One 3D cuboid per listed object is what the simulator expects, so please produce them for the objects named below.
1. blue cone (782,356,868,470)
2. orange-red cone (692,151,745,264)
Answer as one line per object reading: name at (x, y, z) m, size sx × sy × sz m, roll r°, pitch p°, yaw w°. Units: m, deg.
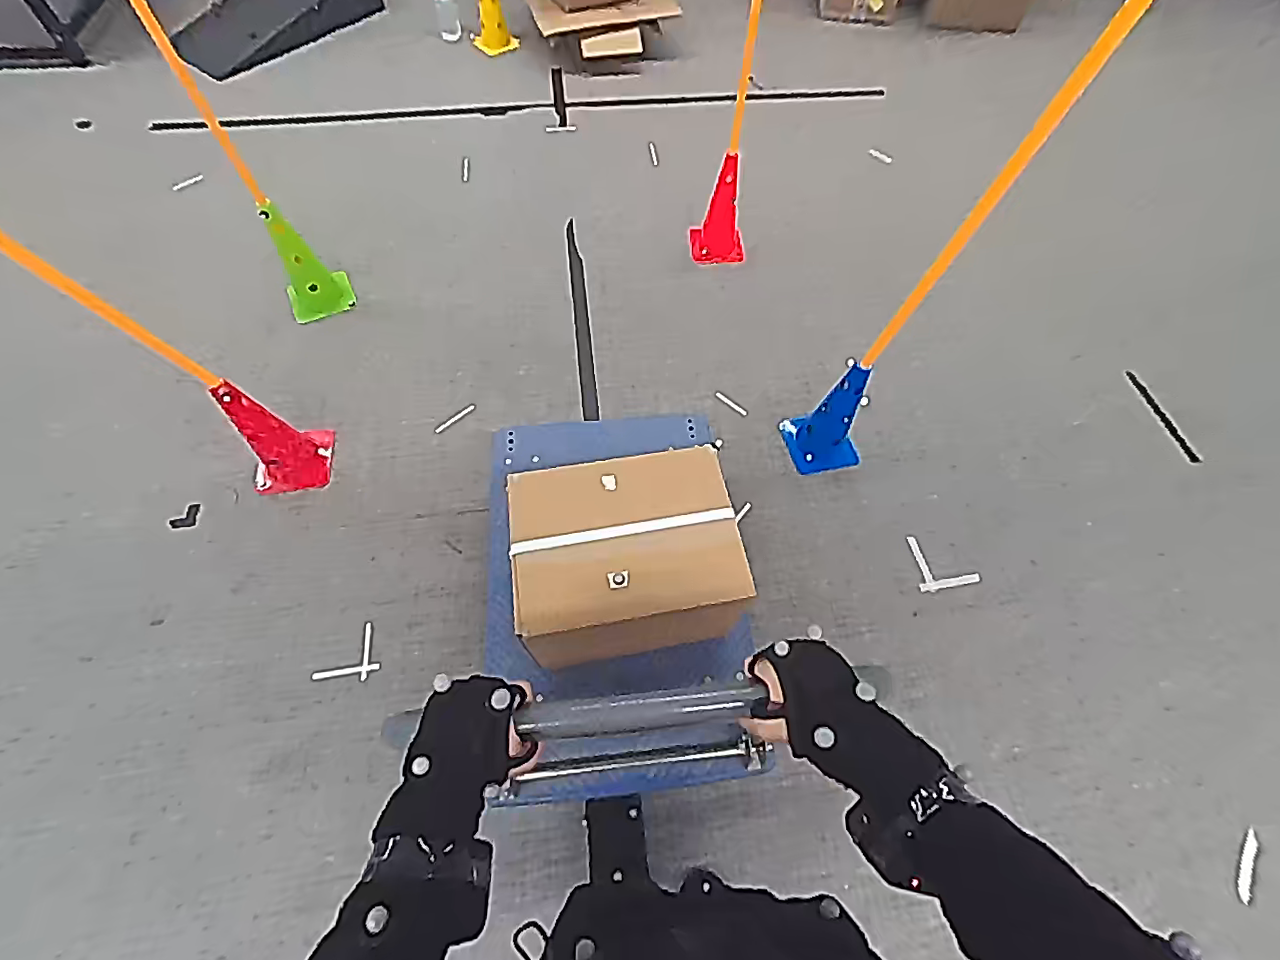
blue cone at (0.554, -0.198, 1.514) m, size 0.193 × 0.380 × 0.192 m, roll -9°, pitch 61°, yaw -8°
orange-red cone at (0.306, -0.977, 1.915) m, size 0.199 × 0.360 × 0.198 m, roll 0°, pitch 62°, yaw -3°
